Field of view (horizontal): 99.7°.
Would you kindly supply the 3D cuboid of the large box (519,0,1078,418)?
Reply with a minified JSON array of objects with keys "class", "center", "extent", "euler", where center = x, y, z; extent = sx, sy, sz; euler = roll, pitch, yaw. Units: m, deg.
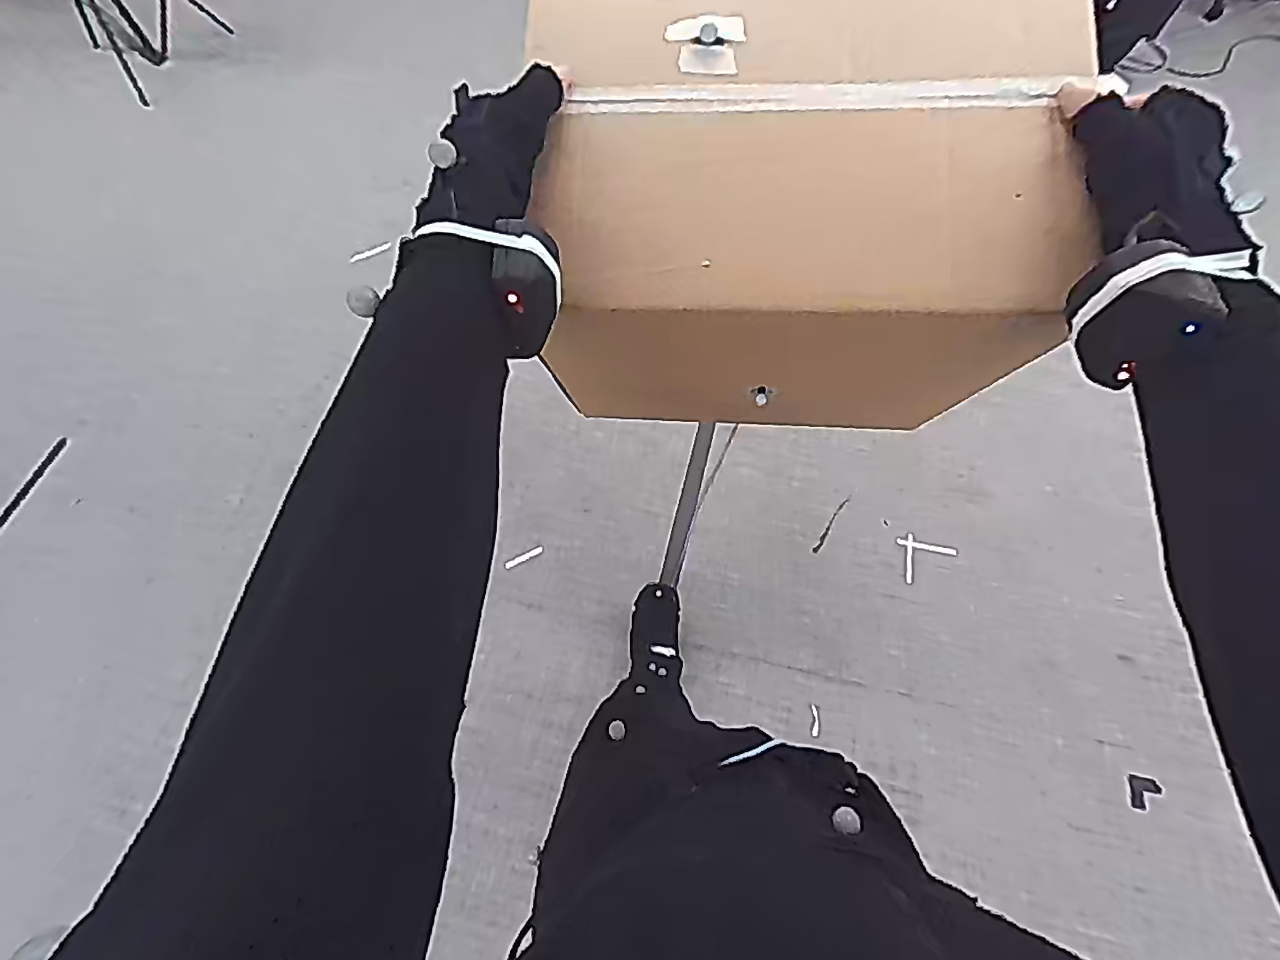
[{"class":"large box","center":[0.128,-0.251,0.557],"extent":[0.408,0.320,0.320],"euler":[3,81,6]}]
